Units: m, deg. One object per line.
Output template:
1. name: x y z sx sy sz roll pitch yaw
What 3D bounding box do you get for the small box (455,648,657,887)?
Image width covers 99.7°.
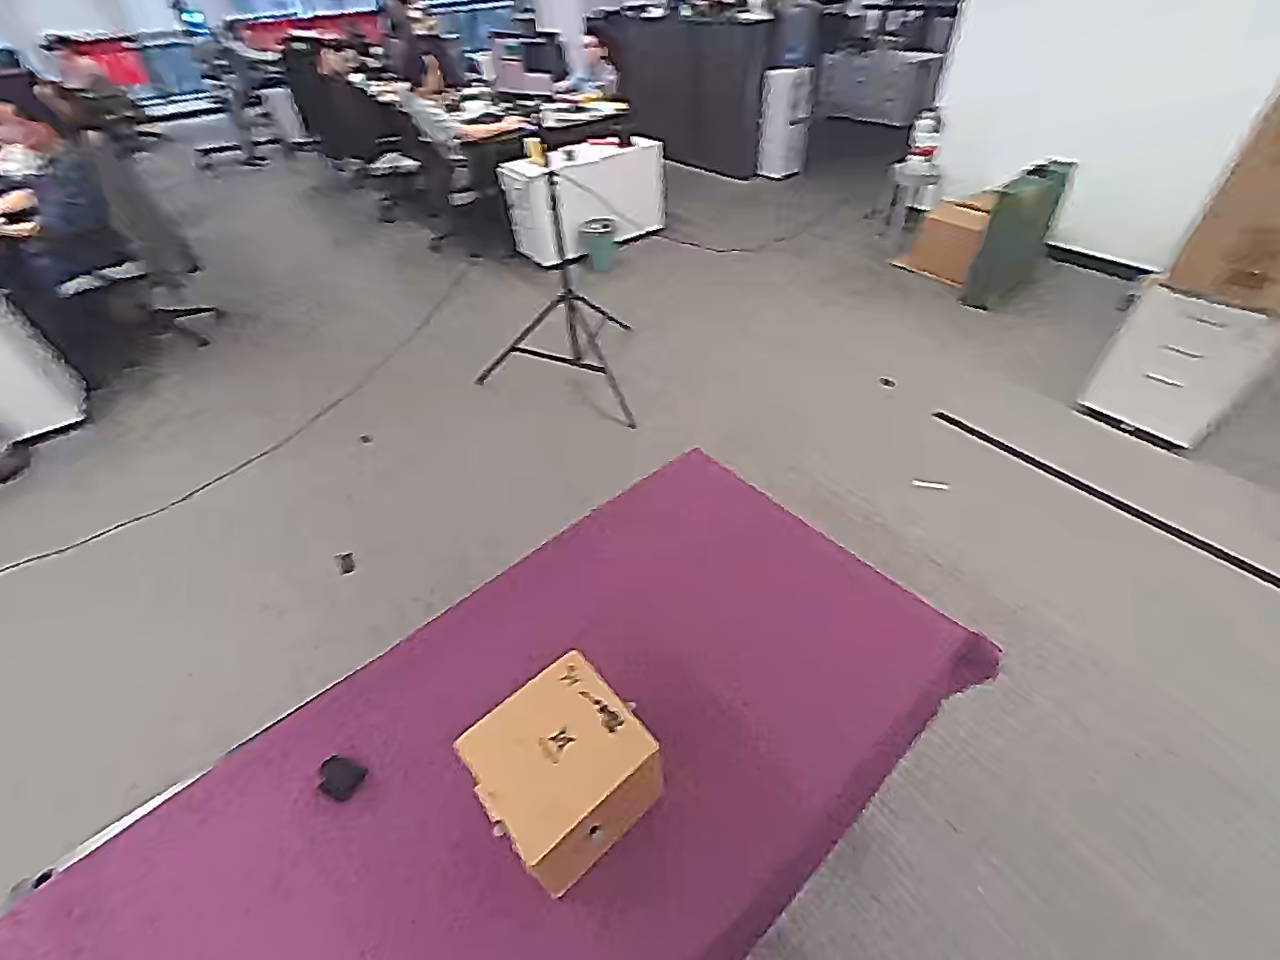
1. small box: -0.092 0.354 0.669 0.179 0.176 0.168 -33 50 -26
